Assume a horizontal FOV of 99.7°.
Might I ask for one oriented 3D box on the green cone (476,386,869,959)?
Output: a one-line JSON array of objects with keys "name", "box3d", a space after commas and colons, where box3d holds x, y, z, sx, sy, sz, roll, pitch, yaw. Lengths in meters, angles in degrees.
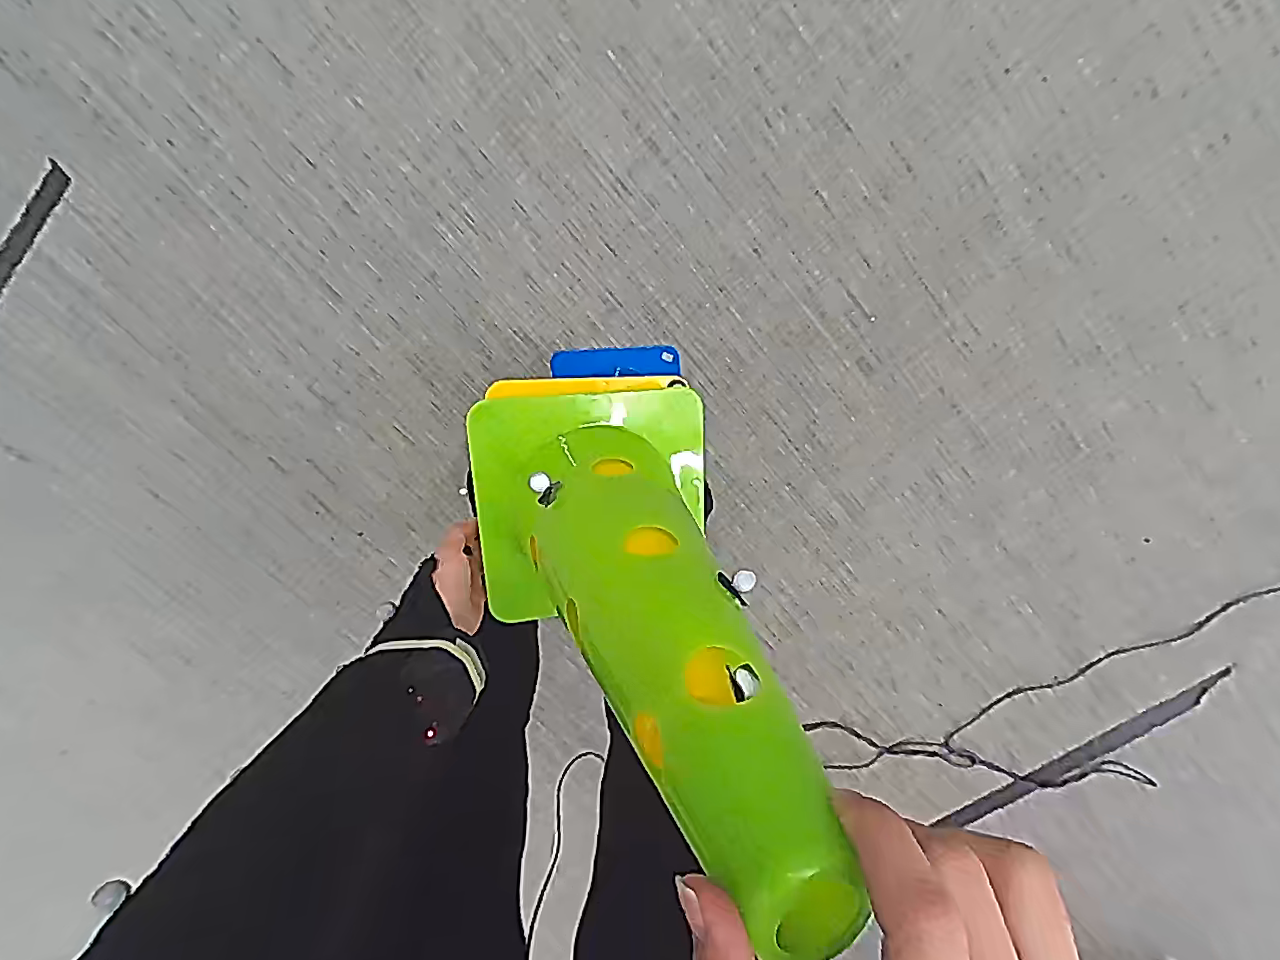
[{"name": "green cone", "box3d": [0.008, 0.067, 0.309, 0.202, 0.368, 0.200, -6, 106, -12]}]
